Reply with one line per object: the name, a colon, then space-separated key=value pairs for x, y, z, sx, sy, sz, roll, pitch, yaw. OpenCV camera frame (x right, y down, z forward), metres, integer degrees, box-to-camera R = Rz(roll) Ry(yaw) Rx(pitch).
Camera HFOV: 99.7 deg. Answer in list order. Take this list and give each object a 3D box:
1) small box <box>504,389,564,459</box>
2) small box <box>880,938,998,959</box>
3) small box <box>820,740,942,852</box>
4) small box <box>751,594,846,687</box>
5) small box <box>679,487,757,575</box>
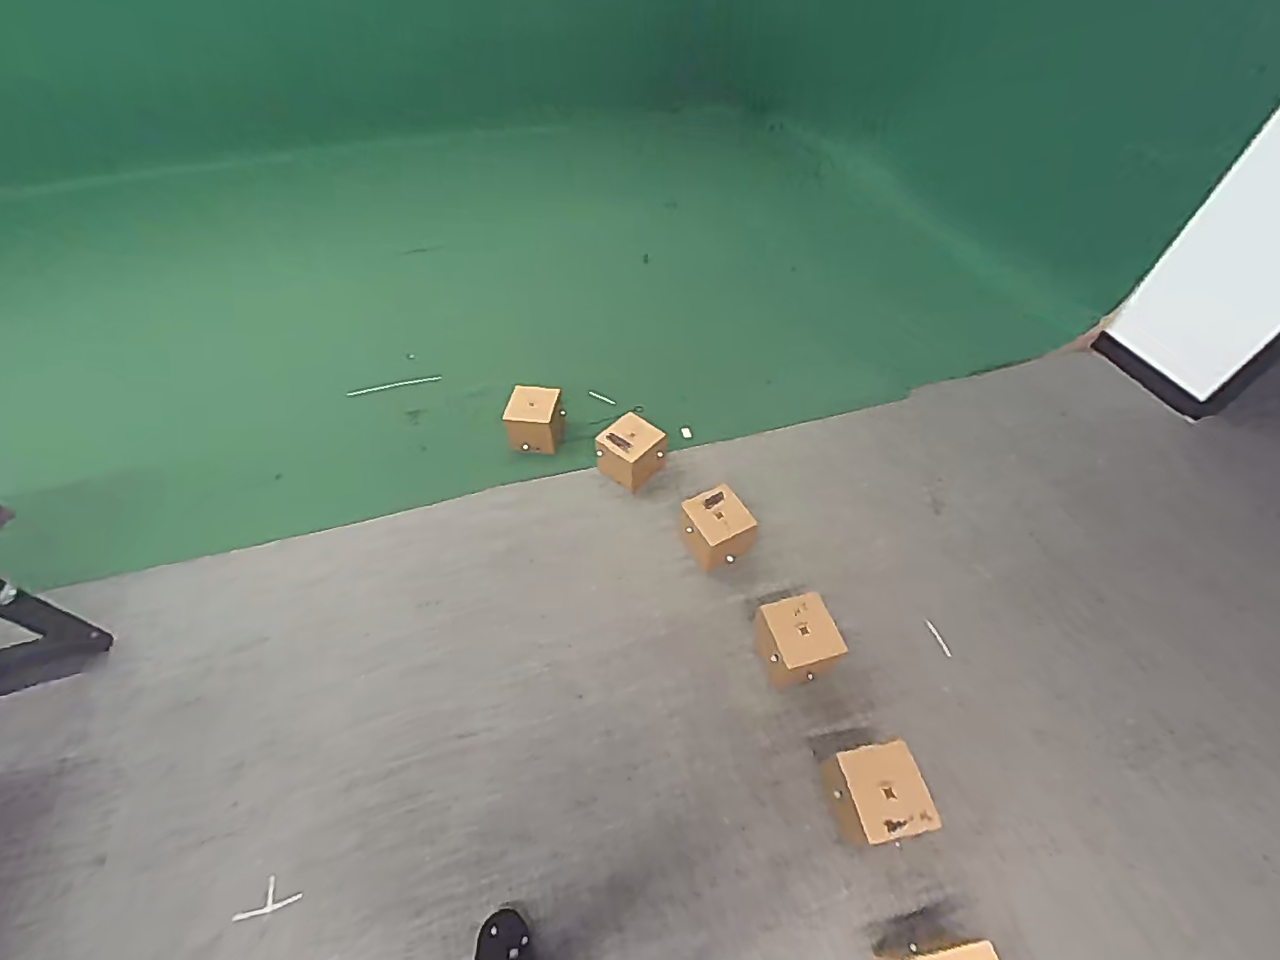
small box: x=-0.377 y=-0.203 z=1.960 sx=0.168 sy=0.176 sz=0.179 roll=6 pitch=51 yaw=5
small box: x=0.577 y=0.976 z=1.004 sx=0.179 sy=0.176 sz=0.168 roll=-9 pitch=52 yaw=-6
small box: x=0.526 y=0.711 z=1.214 sx=0.168 sy=0.176 sz=0.179 roll=-9 pitch=51 yaw=-6
small box: x=0.413 y=0.433 z=1.438 sx=0.168 sy=0.176 sz=0.179 roll=-12 pitch=52 yaw=-10
small box: x=0.230 y=0.158 z=1.661 sx=0.168 sy=0.176 sz=0.179 roll=-23 pitch=55 yaw=-17
